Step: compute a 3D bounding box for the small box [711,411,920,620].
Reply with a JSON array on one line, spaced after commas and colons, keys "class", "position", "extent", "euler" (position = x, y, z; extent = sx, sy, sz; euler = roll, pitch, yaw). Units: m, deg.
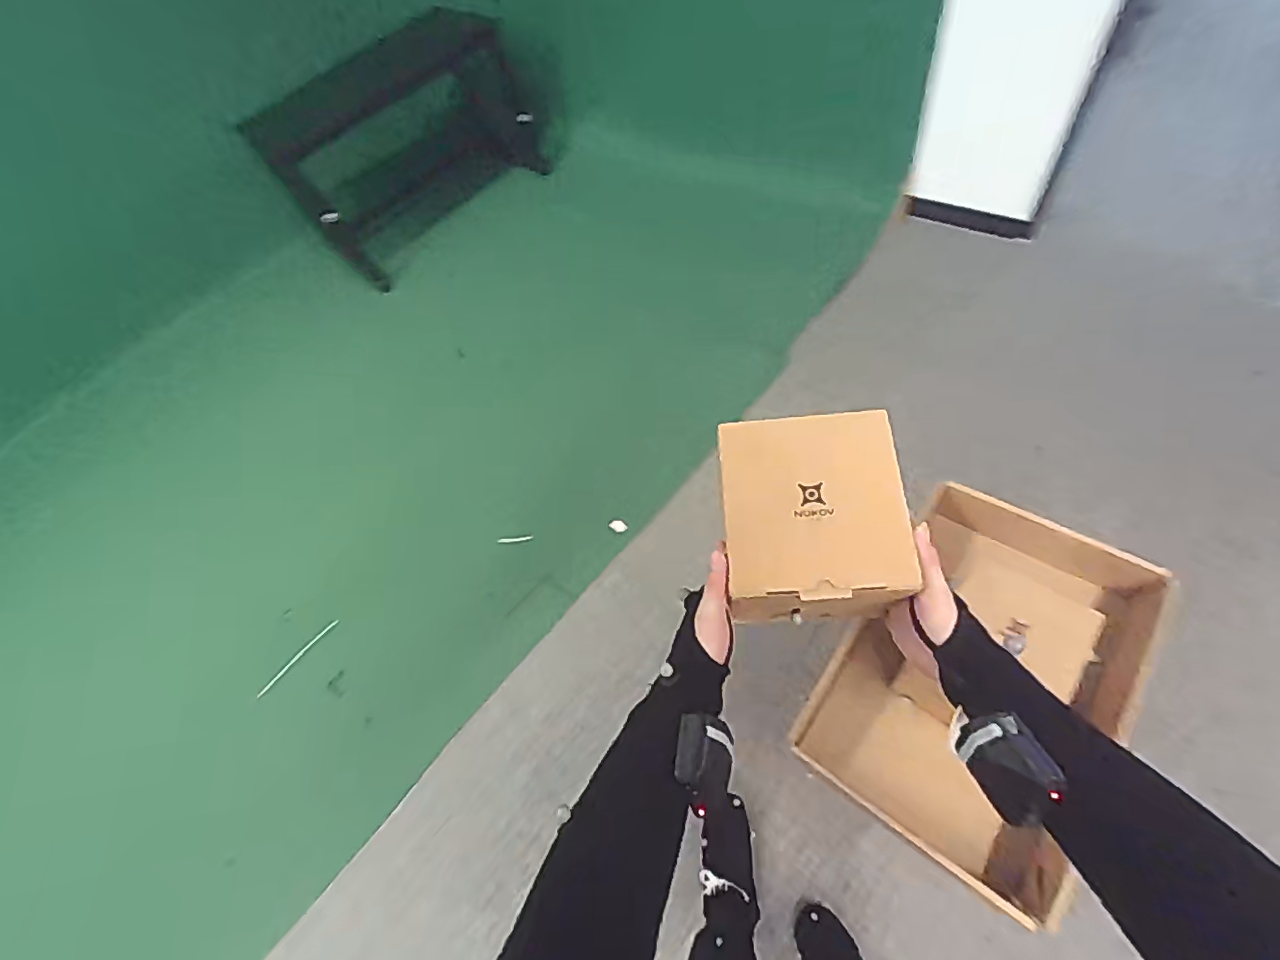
[{"class": "small box", "position": [0.165, 0.047, 0.573], "extent": [0.168, 0.176, 0.179], "euler": [-5, 70, 5]}]

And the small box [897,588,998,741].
[{"class": "small box", "position": [0.575, 0.329, 0.950], "extent": [0.168, 0.176, 0.179], "euler": [32, 70, 28]}]

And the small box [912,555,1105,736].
[{"class": "small box", "position": [0.535, 0.251, 0.810], "extent": [0.168, 0.176, 0.179], "euler": [30, 70, 29]}]
